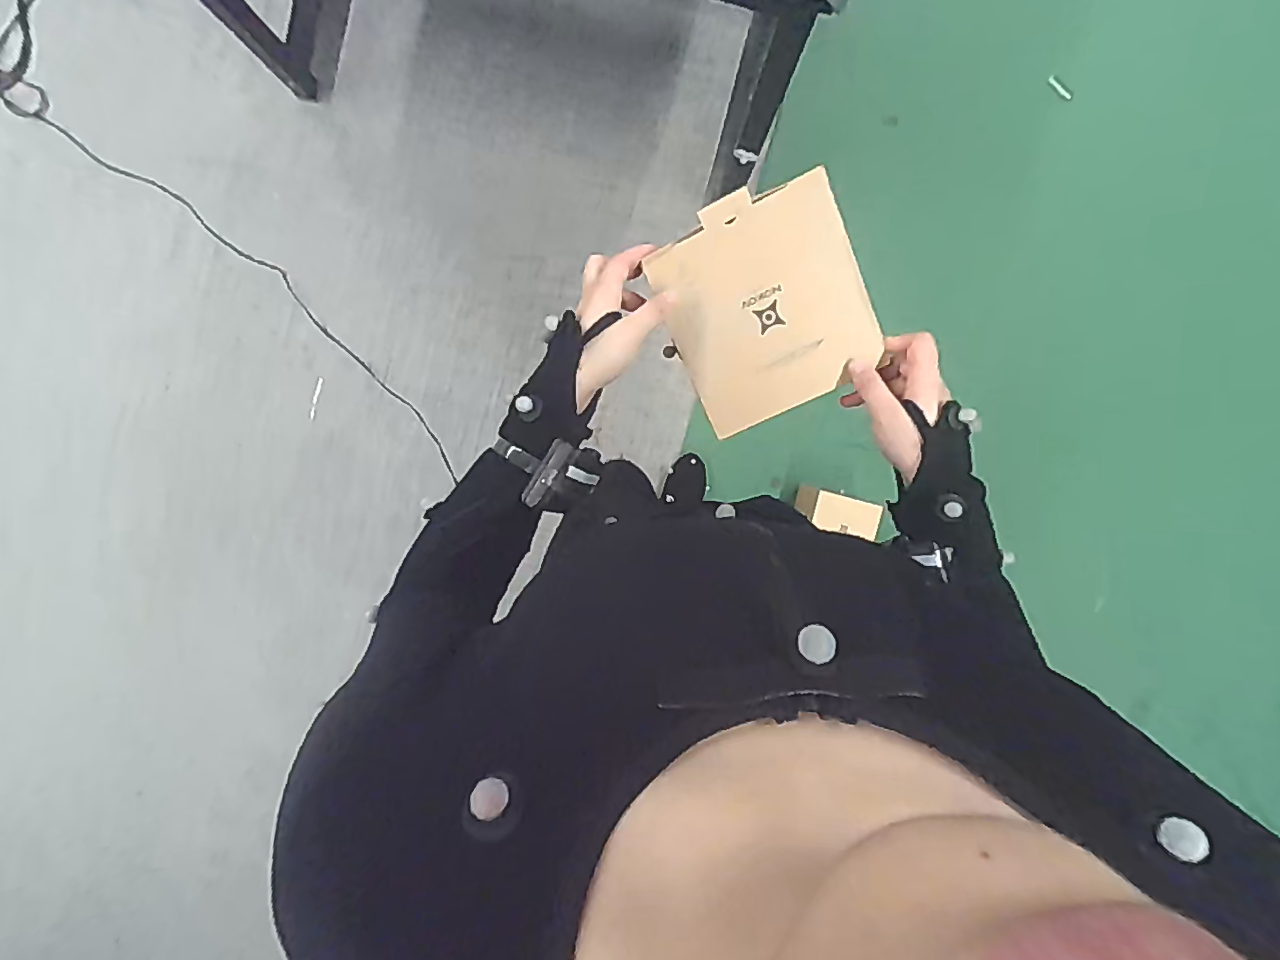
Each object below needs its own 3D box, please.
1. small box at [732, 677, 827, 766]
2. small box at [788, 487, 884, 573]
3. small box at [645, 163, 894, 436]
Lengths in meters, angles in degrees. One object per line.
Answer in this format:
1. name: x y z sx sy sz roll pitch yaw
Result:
1. small box: 0.364 0.656 1.452 0.179 0.176 0.168 23 94 -2
2. small box: 0.500 0.122 1.406 0.168 0.176 0.179 14 94 -1
3. small box: 0.114 -0.169 0.538 0.168 0.176 0.179 -25 105 10
